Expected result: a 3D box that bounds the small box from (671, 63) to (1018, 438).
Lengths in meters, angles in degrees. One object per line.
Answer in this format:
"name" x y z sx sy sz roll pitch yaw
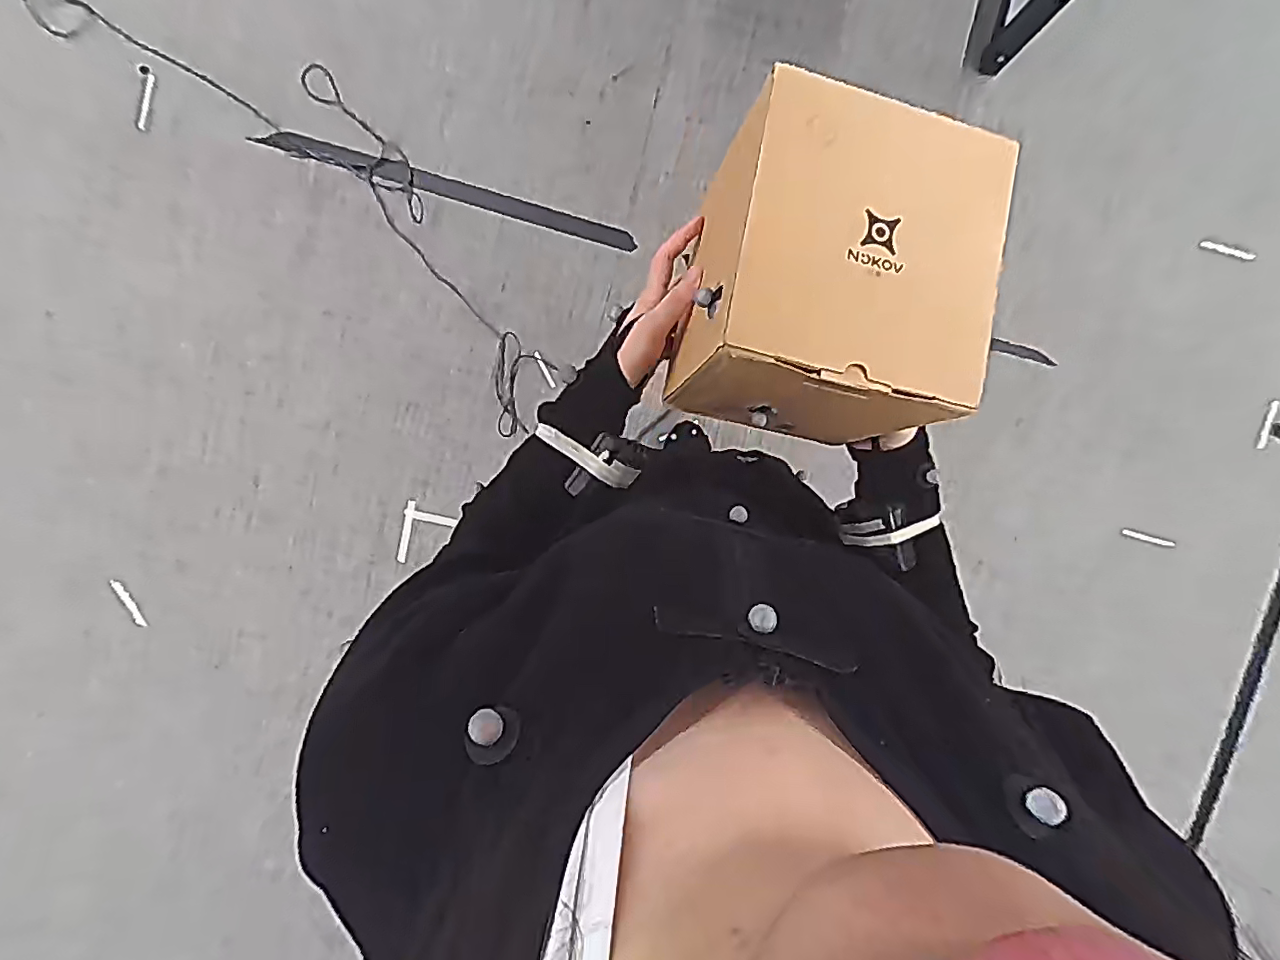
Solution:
"small box" 0.128 -0.139 0.398 0.168 0.176 0.179 12 86 -8
